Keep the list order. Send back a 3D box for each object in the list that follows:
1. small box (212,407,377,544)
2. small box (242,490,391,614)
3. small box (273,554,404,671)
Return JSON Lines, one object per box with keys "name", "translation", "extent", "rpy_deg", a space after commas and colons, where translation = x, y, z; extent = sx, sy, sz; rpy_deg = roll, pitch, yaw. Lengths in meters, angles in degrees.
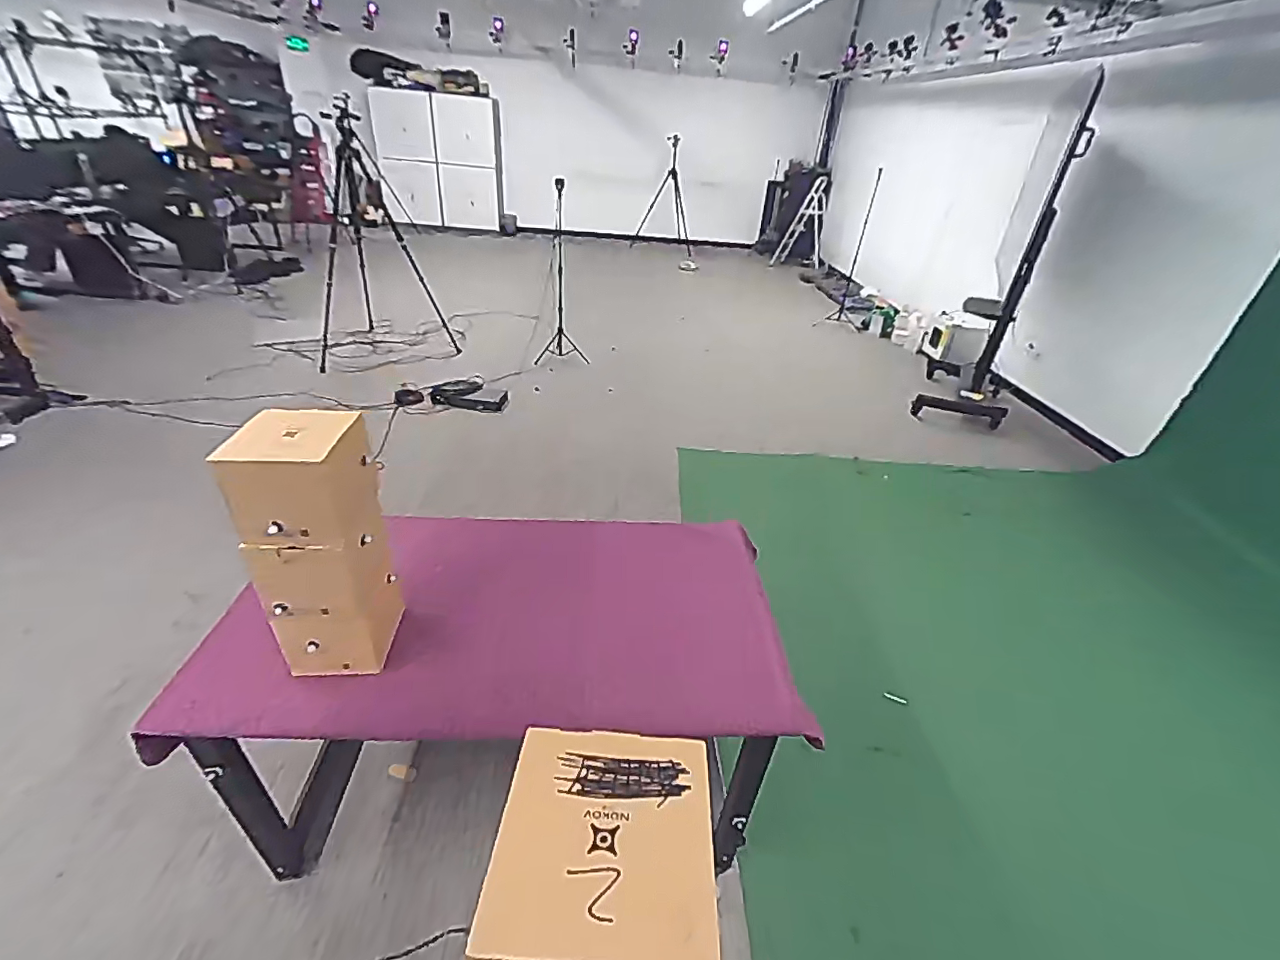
{"name": "small box", "translation": [-0.566, -0.010, 0.918], "extent": [0.168, 0.176, 0.179], "rpy_deg": [1, 33, -5]}
{"name": "small box", "translation": [-0.579, 0.131, 0.999], "extent": [0.168, 0.176, 0.179], "rpy_deg": [1, 32, -6]}
{"name": "small box", "translation": [-0.591, 0.268, 1.090], "extent": [0.168, 0.176, 0.179], "rpy_deg": [0, 33, -6]}
